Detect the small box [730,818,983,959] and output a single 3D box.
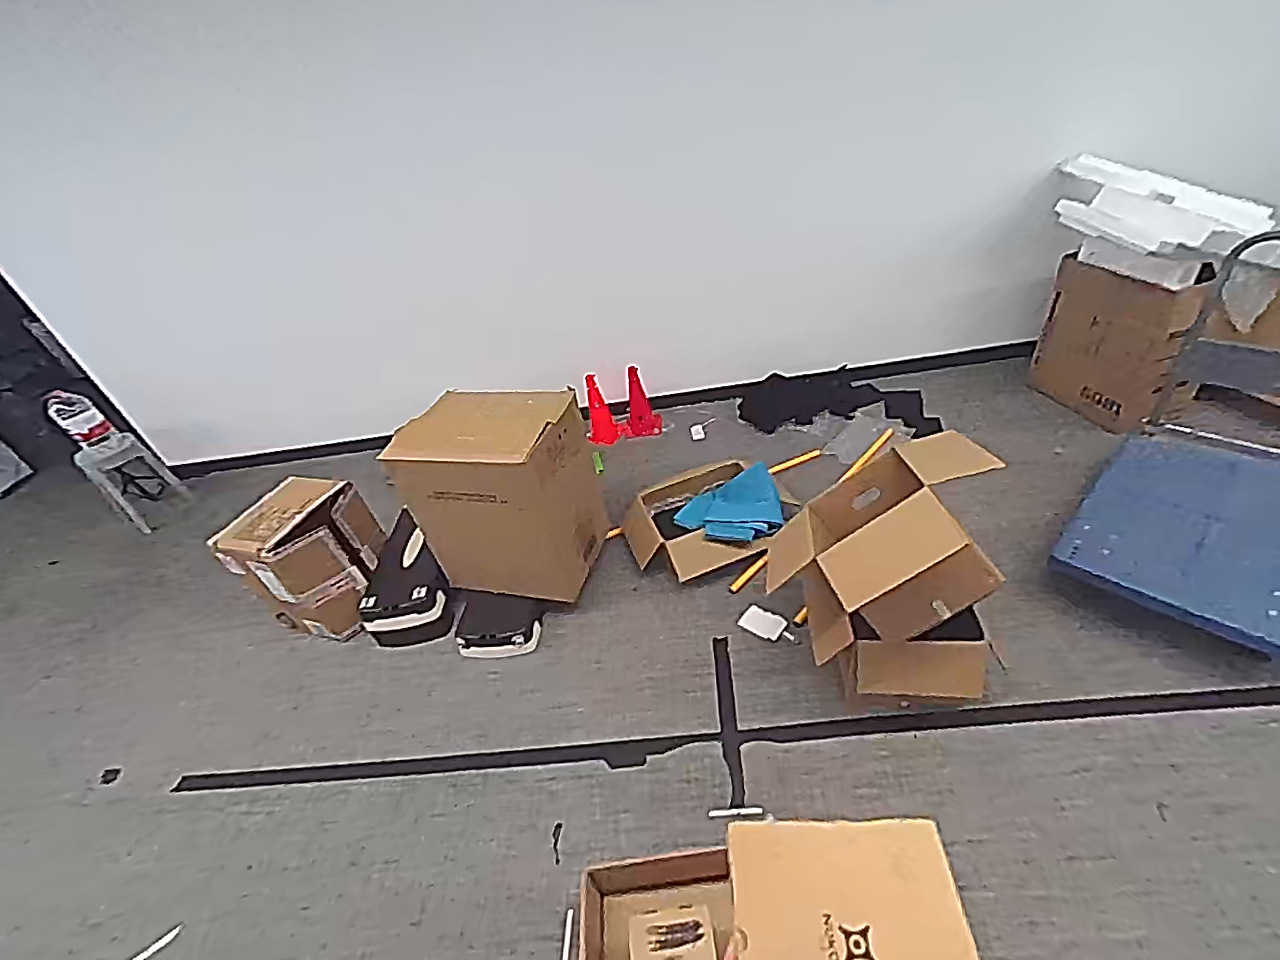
[{"bbox_3d":[0.174,0.403,0.454,0.179,0.176,0.168,-7,40,9],"label":"small box"}]
